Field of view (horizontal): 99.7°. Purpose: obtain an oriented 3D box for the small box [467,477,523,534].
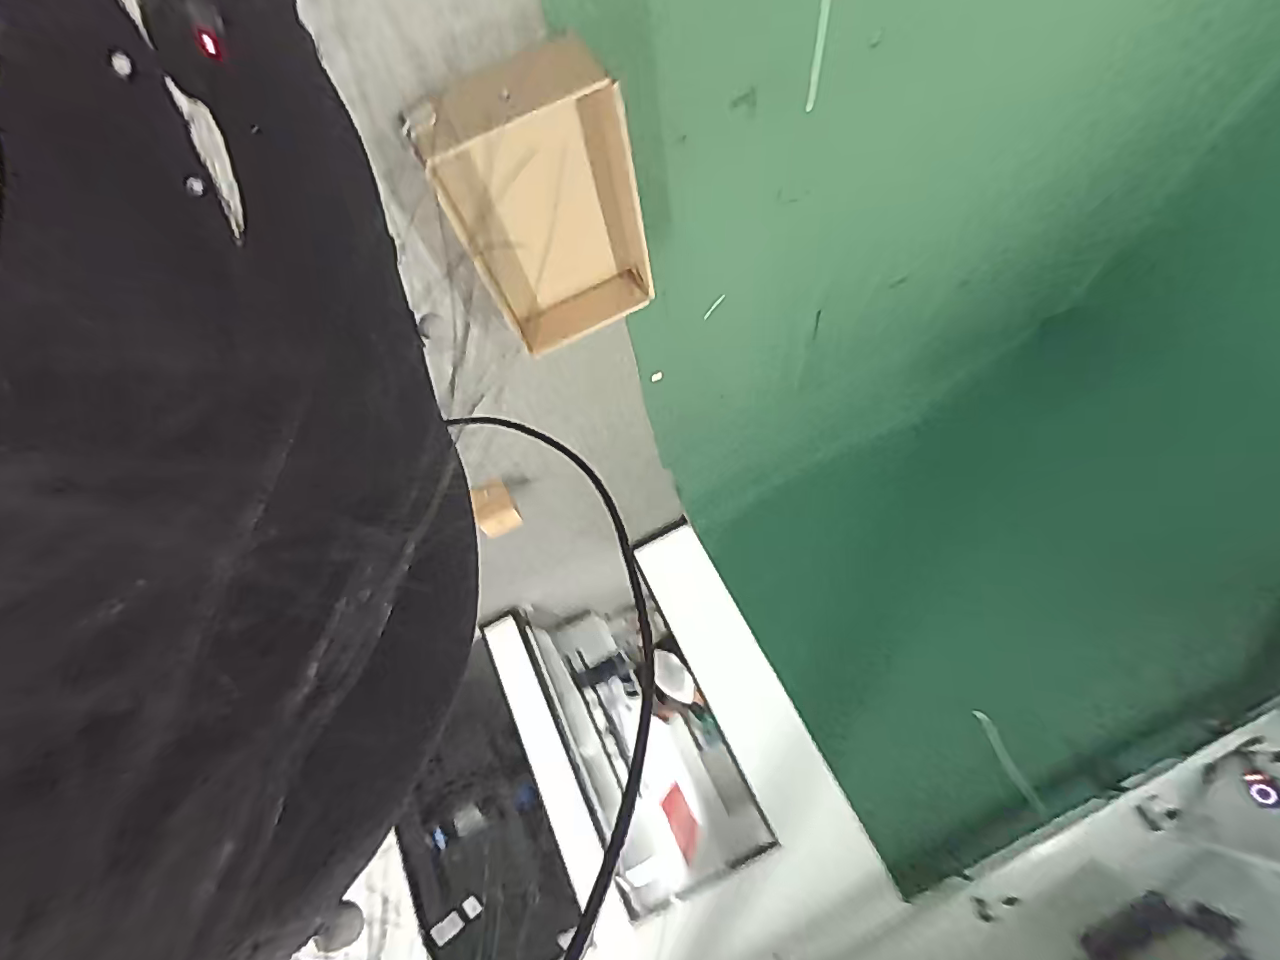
[{"bbox_3d":[-0.638,0.110,2.378,0.168,0.176,0.179,-26,157,-7],"label":"small box"}]
